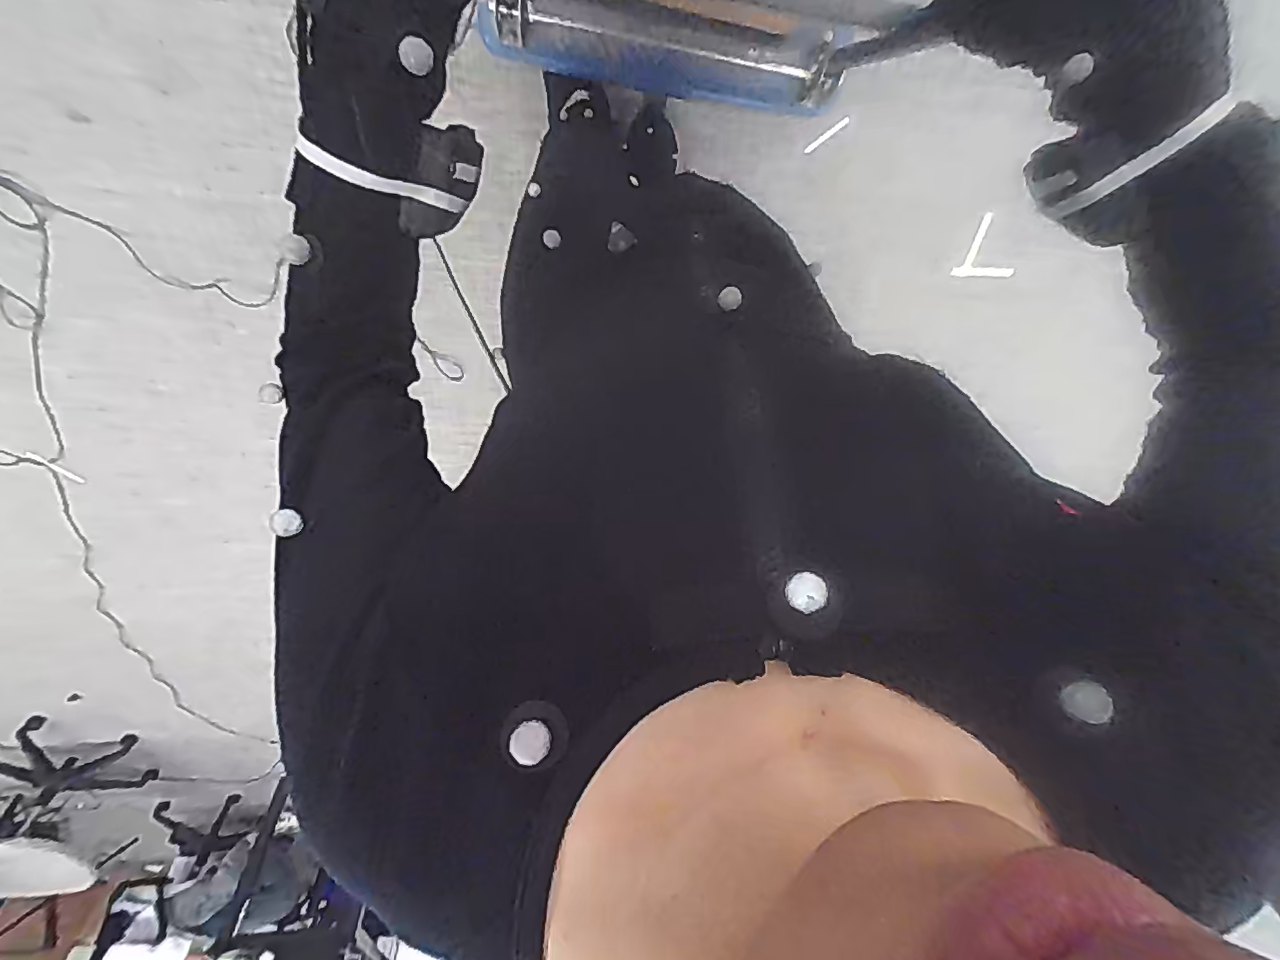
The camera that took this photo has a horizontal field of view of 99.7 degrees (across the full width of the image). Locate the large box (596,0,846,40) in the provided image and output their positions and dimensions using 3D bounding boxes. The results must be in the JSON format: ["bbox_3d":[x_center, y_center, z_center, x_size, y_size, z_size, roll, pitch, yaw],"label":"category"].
[{"bbox_3d":[0.073,-0.756,0.609,0.408,0.320,0.320,4,119,-12],"label":"large box"}]
